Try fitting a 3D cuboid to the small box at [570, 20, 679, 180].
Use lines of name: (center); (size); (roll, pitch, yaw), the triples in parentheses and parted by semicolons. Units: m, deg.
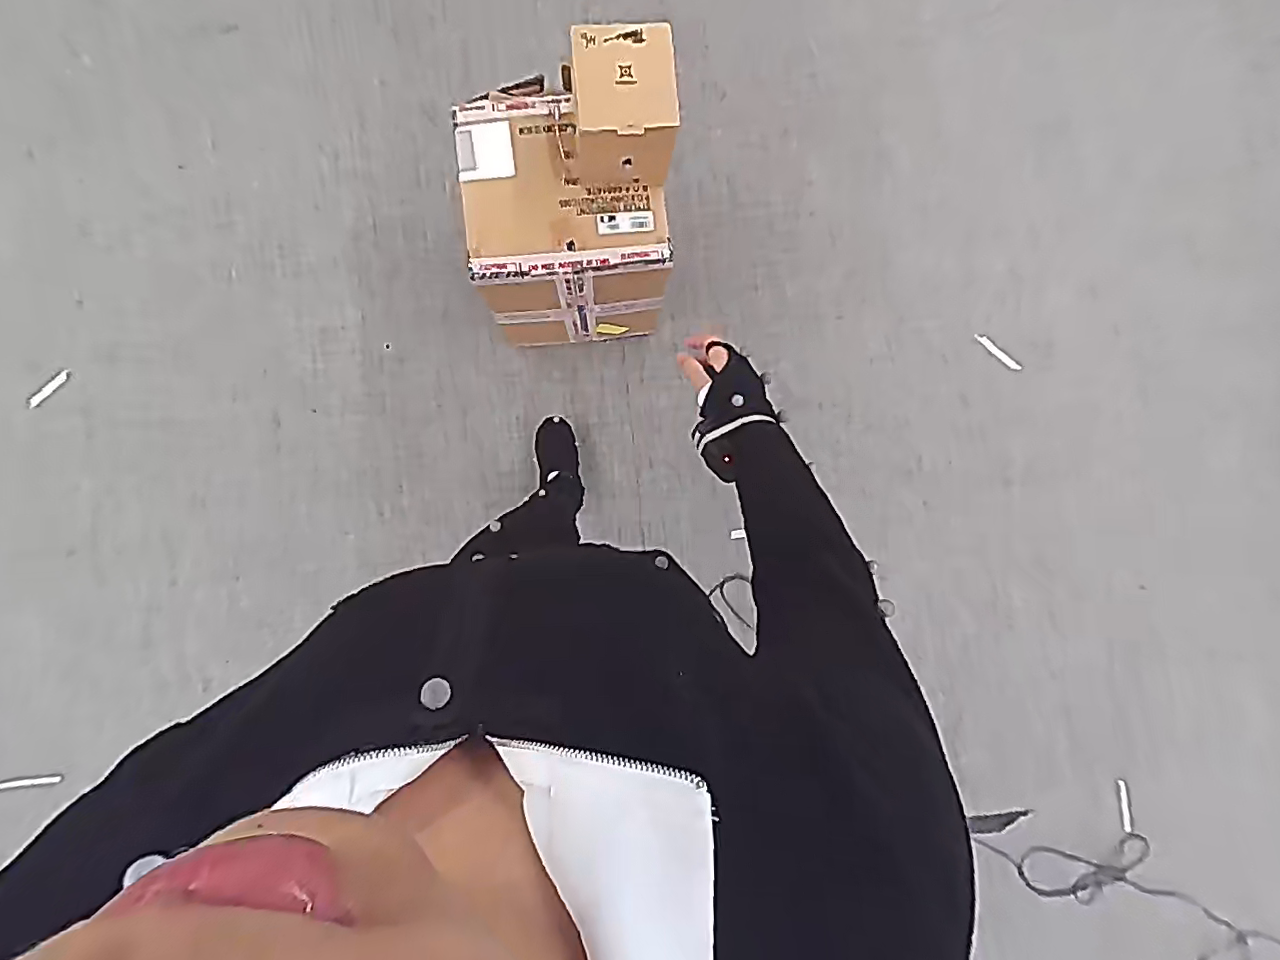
small box: (-0.030, -0.647, 0.944); (0.168, 0.176, 0.179); (-6, 91, -6)
